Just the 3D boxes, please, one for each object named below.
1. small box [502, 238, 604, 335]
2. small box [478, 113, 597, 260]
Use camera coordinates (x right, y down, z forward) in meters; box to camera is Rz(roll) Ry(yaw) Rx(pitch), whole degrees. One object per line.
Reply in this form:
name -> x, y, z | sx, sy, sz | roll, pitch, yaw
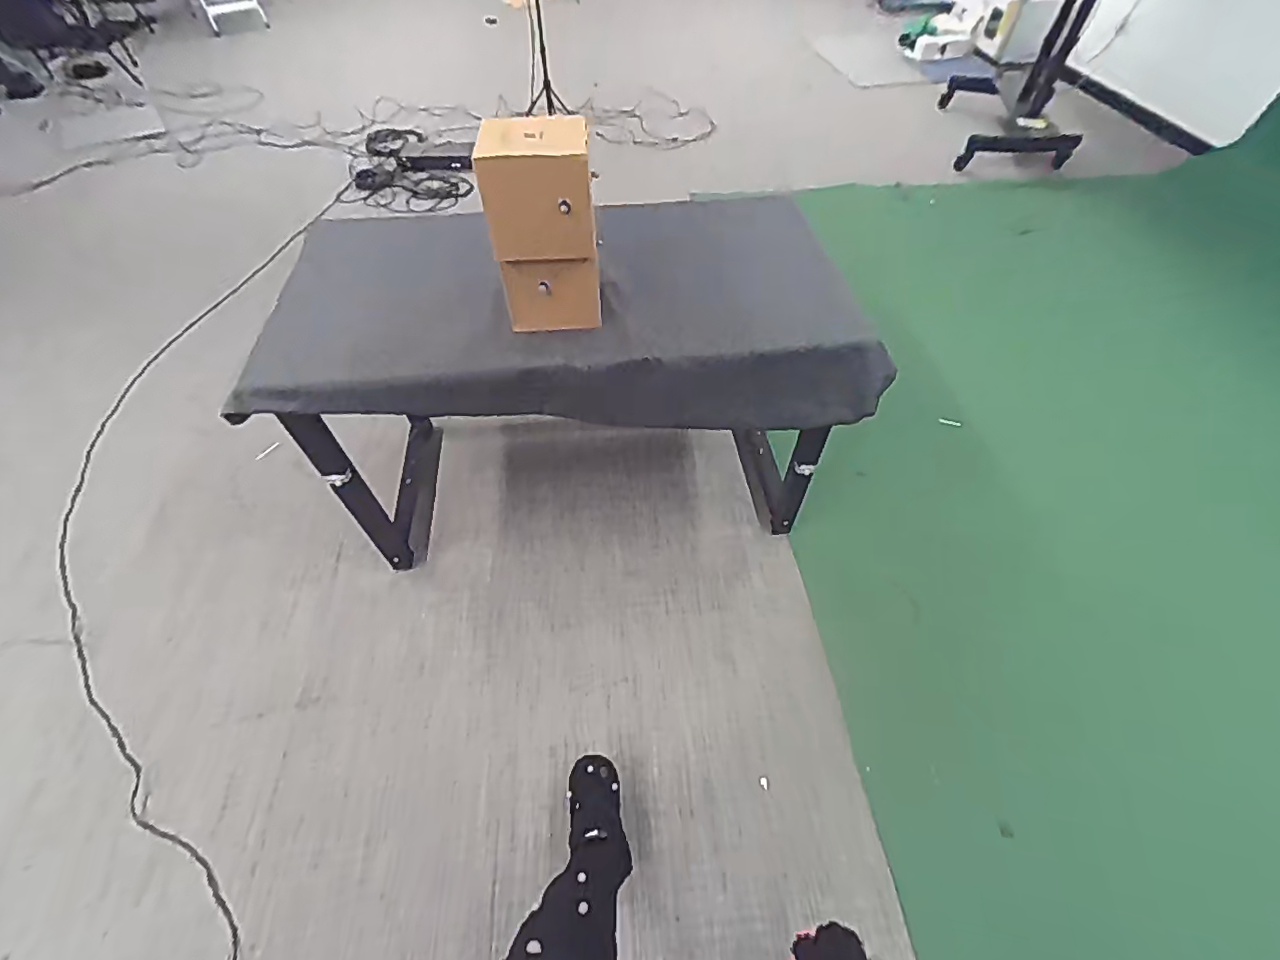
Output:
small box -> -0.168, -0.405, 1.075 | 0.179, 0.176, 0.168 | -6, 51, -5
small box -> -0.166, -0.493, 0.914 | 0.179, 0.176, 0.168 | -6, 52, -5
